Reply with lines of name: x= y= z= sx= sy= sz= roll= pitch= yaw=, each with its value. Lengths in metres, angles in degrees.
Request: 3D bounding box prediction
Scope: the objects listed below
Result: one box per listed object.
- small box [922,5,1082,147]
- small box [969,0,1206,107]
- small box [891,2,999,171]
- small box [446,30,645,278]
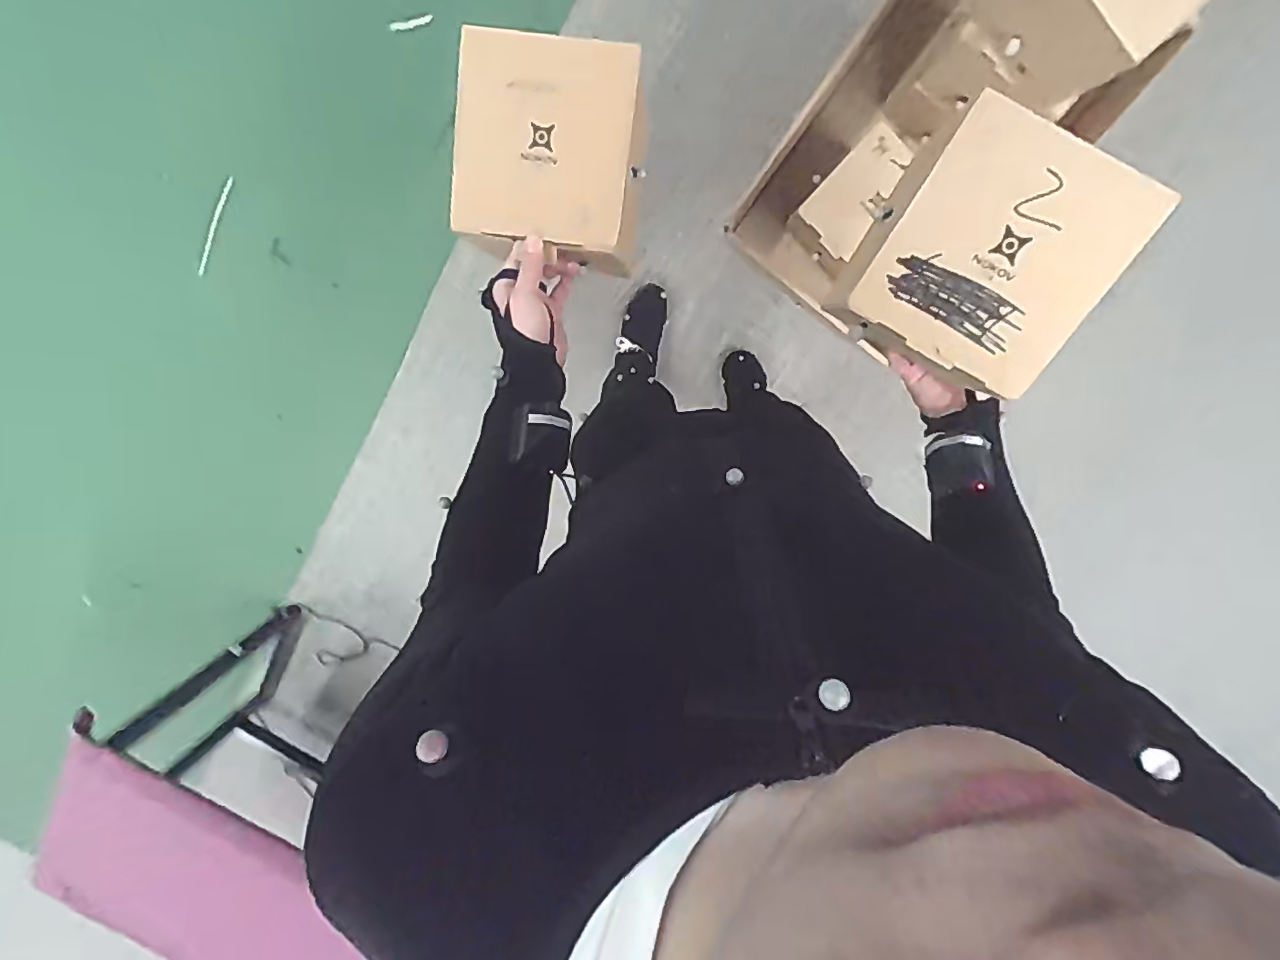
small box: x=0.515 y=-0.585 z=0.712 sx=0.168 sy=0.176 sz=0.179 roll=36 pitch=110 yaw=-5
small box: x=0.491 y=-0.539 z=0.556 sx=0.168 sy=0.176 sz=0.179 roll=45 pitch=110 yaw=-8
small box: x=0.539 y=-0.638 z=0.864 sx=0.168 sy=0.176 sz=0.179 roll=37 pitch=110 yaw=-4
small box: x=-0.088 y=-0.324 z=0.576 sx=0.168 sy=0.176 sz=0.179 roll=9 pitch=101 yaw=3
